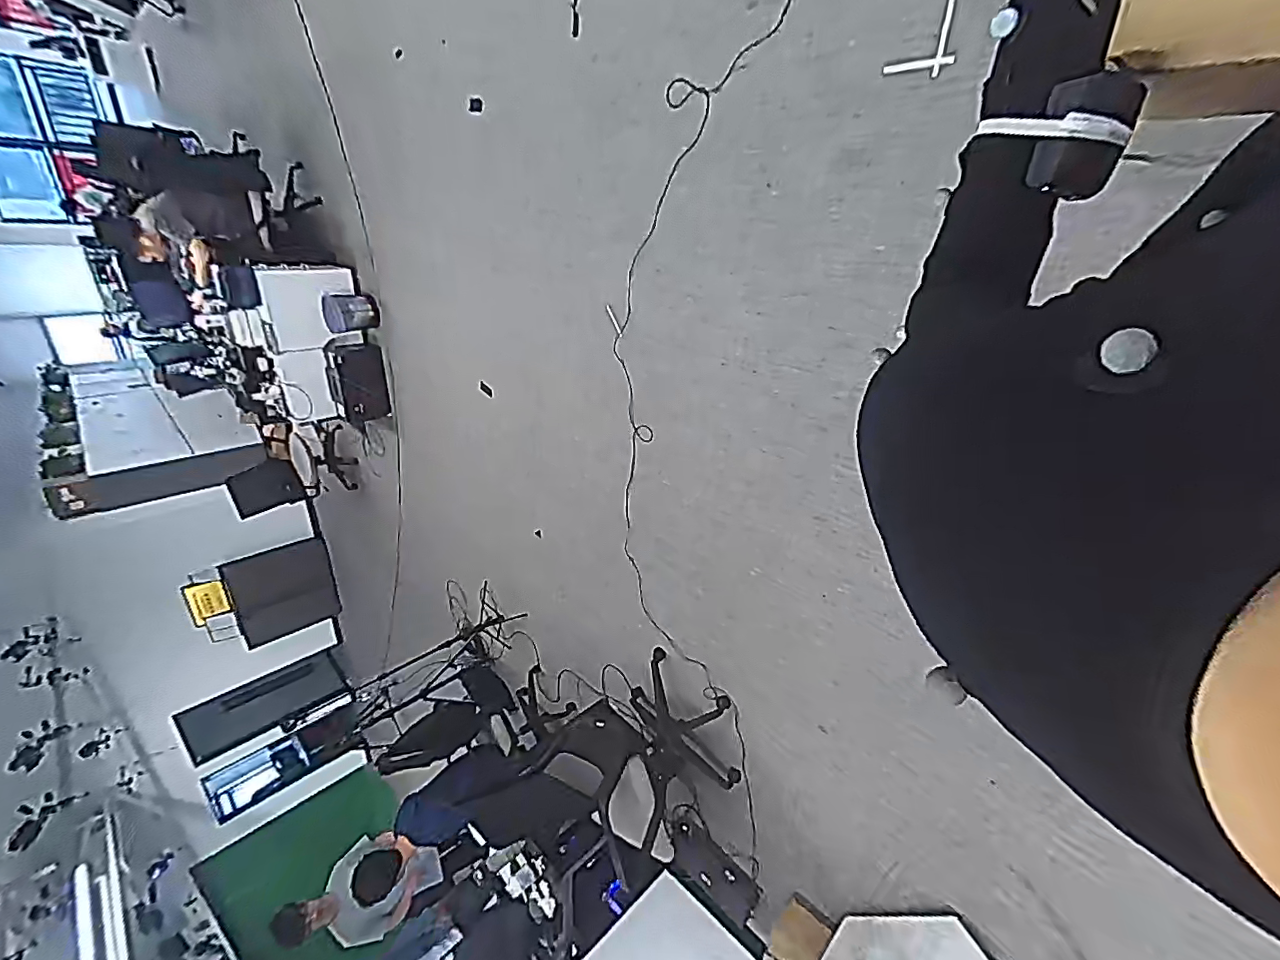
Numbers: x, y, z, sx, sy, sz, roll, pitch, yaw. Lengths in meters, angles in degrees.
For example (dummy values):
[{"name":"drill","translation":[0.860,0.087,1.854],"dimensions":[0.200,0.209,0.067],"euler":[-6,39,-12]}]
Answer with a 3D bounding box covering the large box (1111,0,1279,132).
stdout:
[{"name":"large box","translation":[0.551,-0.392,0.275],"dimensions":[0.408,0.320,0.320],"euler":[21,124,36]}]
